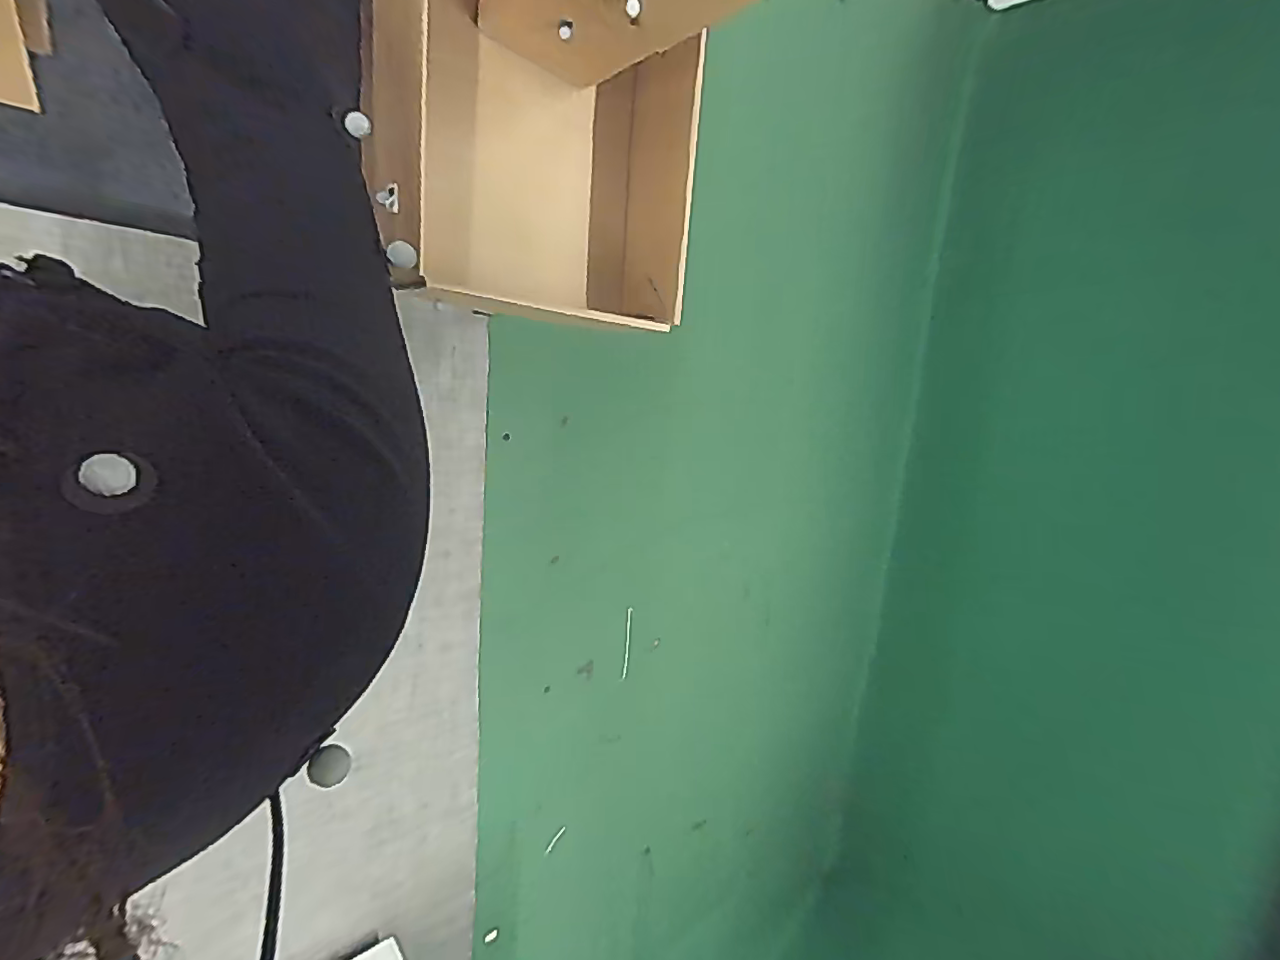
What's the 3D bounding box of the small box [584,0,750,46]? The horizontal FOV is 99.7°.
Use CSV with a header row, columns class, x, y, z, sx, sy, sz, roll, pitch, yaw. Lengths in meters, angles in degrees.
class,x,y,z,sx,sy,sz,roll,pitch,yaw
small box,0.024,-0.608,0.558,0.168,0.176,0.179,-3,105,-42
